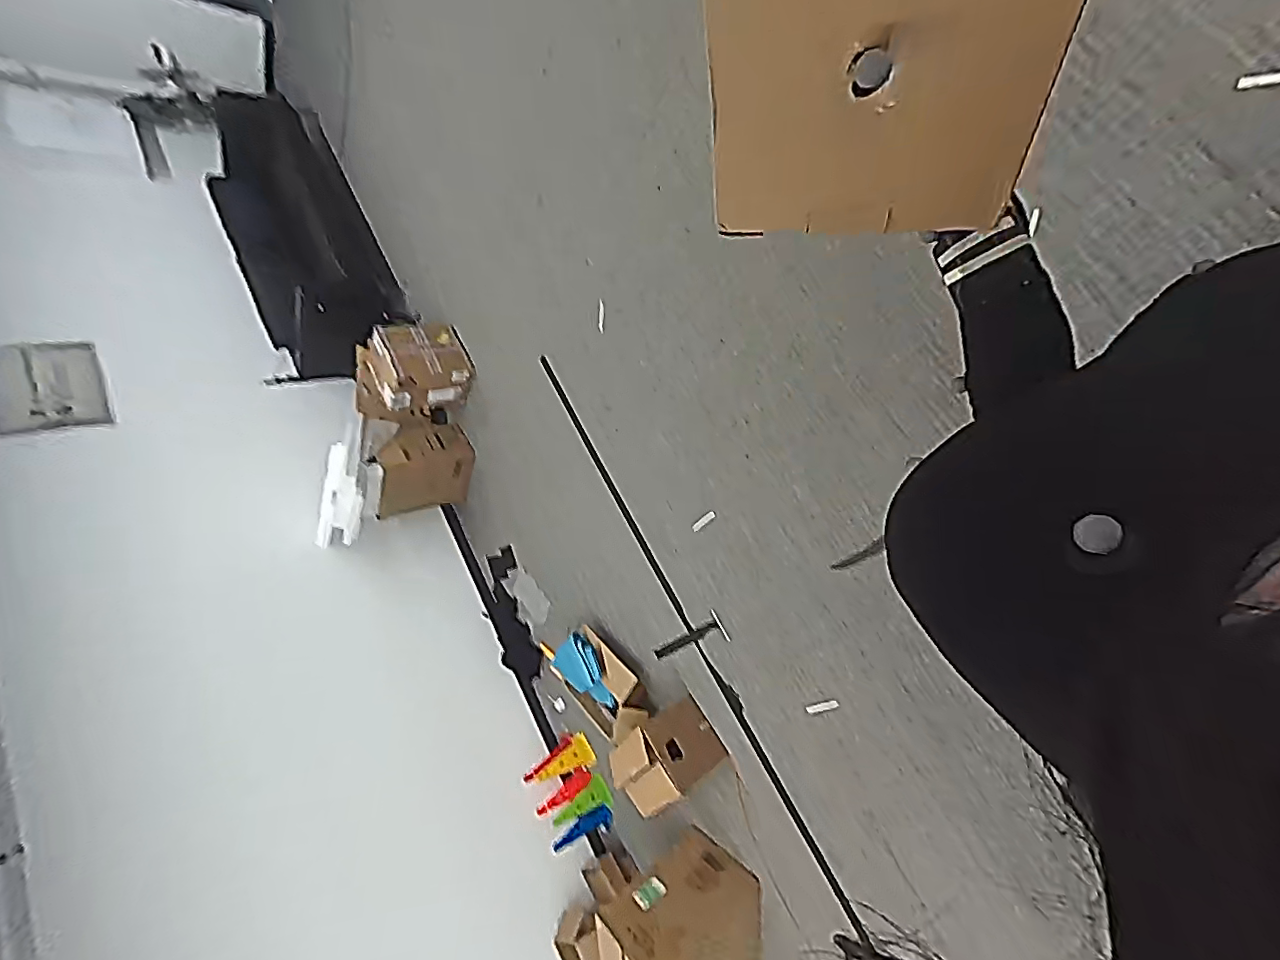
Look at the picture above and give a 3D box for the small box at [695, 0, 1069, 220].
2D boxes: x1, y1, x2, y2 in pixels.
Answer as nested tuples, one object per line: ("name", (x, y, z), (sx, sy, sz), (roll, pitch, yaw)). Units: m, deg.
("small box", (0.127, -0.272, 0.299), (0.168, 0.179, 0.176), (8, 147, 17))
